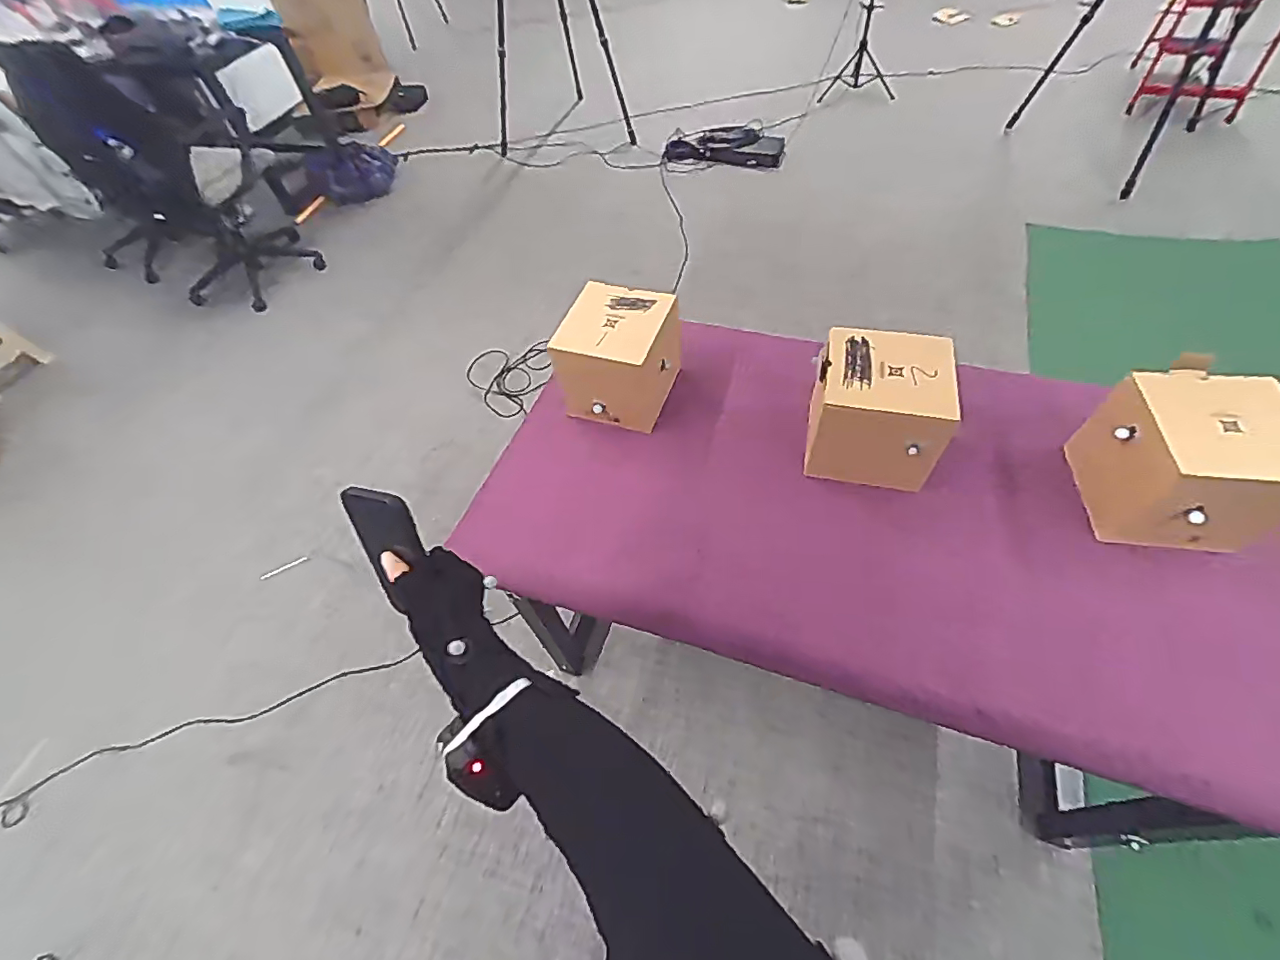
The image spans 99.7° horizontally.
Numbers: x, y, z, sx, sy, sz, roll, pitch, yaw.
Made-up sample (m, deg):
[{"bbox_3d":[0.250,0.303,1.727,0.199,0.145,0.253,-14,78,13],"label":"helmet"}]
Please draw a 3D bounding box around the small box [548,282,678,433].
[{"bbox_3d":[-0.037,-0.212,0.942,0.168,0.176,0.179,15,59,16],"label":"small box"}]

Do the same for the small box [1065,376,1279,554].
[{"bbox_3d":[0.724,-0.017,0.727,0.168,0.176,0.179,5,54,10],"label":"small box"}]
